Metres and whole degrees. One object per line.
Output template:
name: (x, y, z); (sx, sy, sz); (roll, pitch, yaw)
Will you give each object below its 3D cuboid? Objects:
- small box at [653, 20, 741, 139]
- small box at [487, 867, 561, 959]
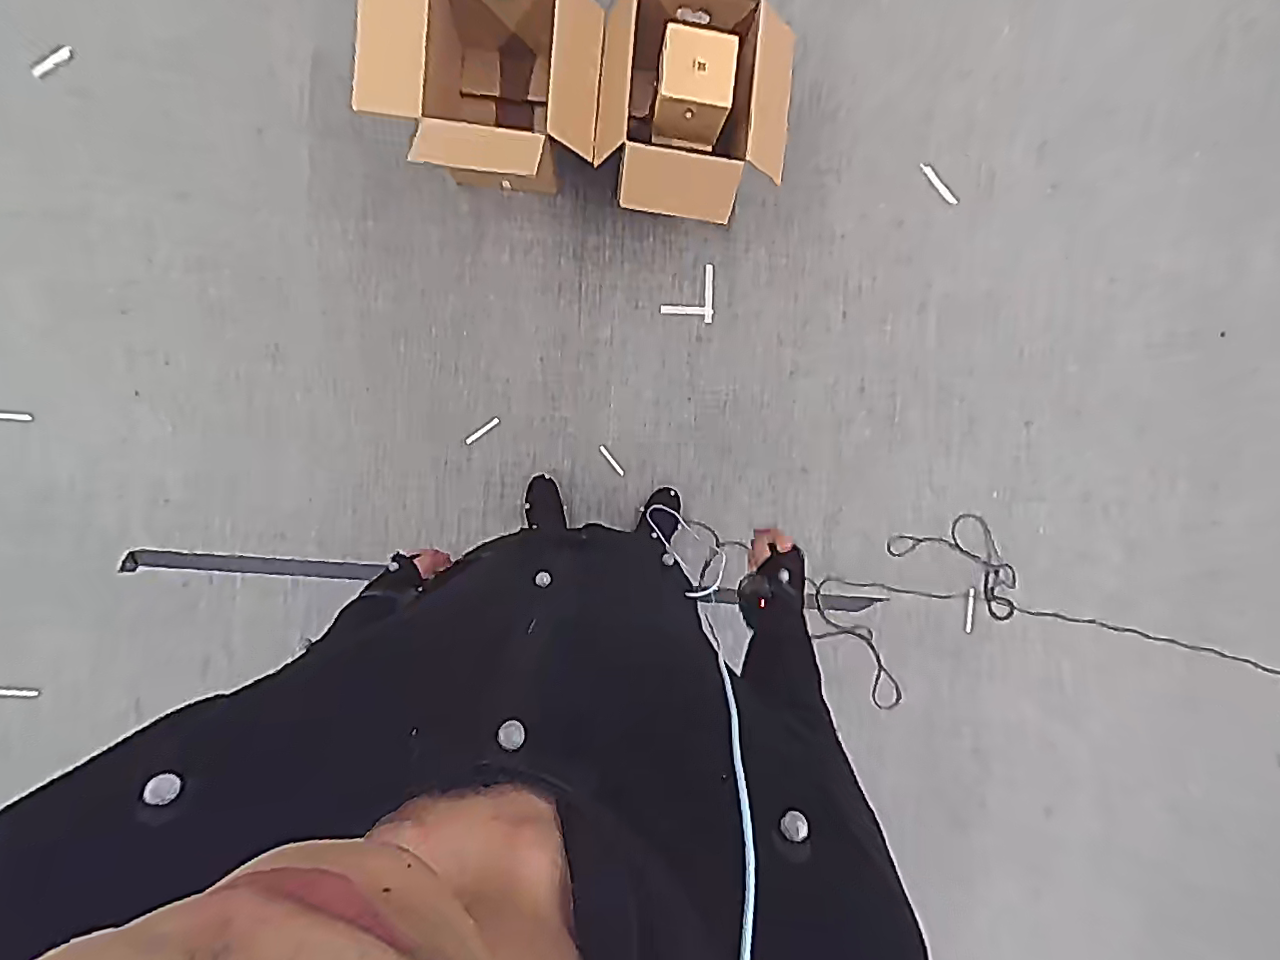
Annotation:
small box: (0.135, -0.983, 1.346); (0.179, 0.176, 0.168); (6, 94, -6)
small box: (-0.310, 1.196, 1.475); (0.179, 0.176, 0.168); (1, 93, -1)
